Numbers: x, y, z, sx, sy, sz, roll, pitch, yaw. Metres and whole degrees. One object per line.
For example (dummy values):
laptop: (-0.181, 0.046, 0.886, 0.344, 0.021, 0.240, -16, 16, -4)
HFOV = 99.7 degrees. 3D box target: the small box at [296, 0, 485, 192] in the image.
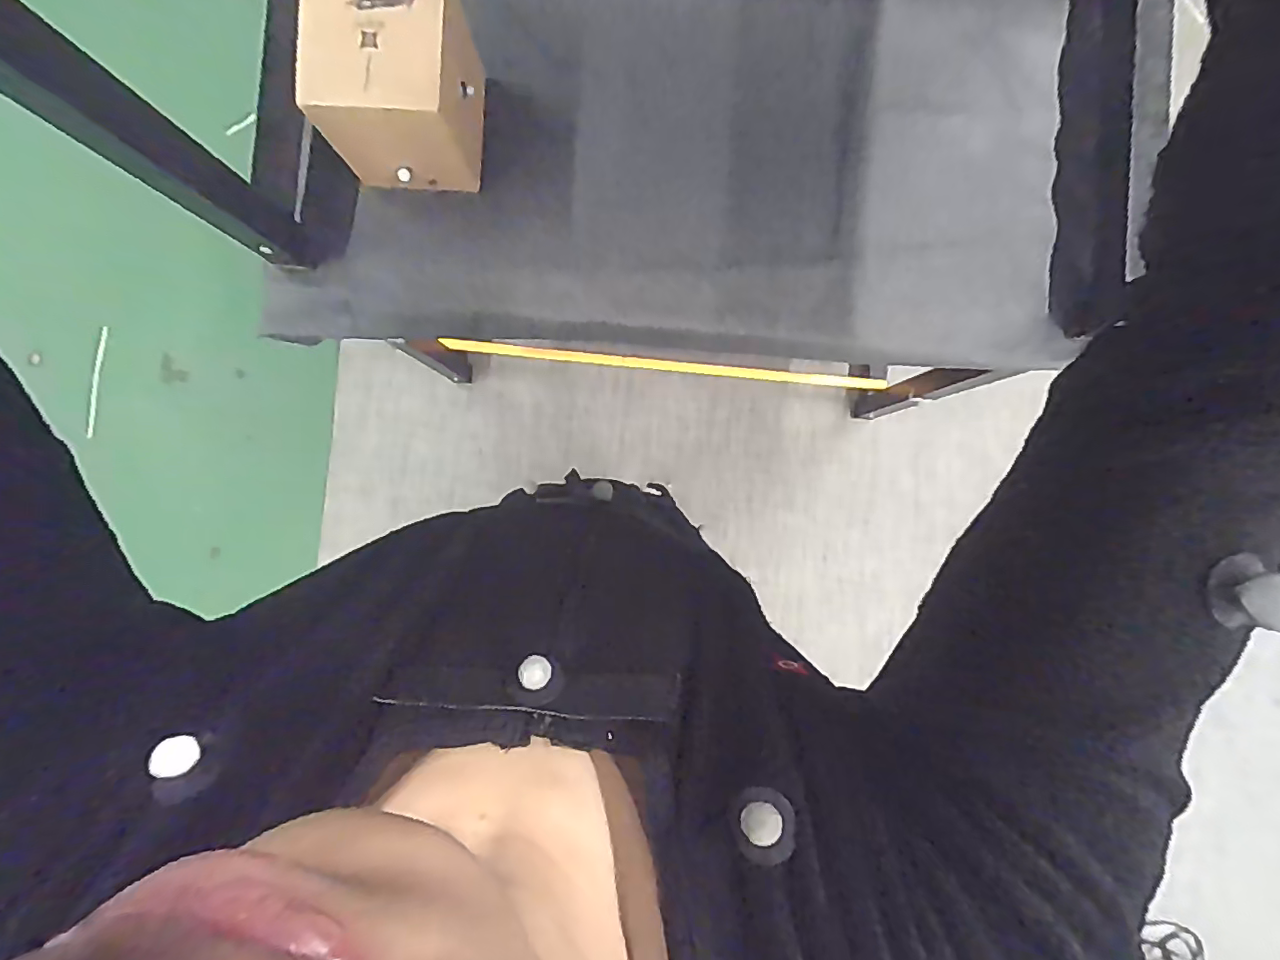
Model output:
small box: (-0.304, -0.505, 0.693, 0.168, 0.176, 0.179, 3, 89, 0)
